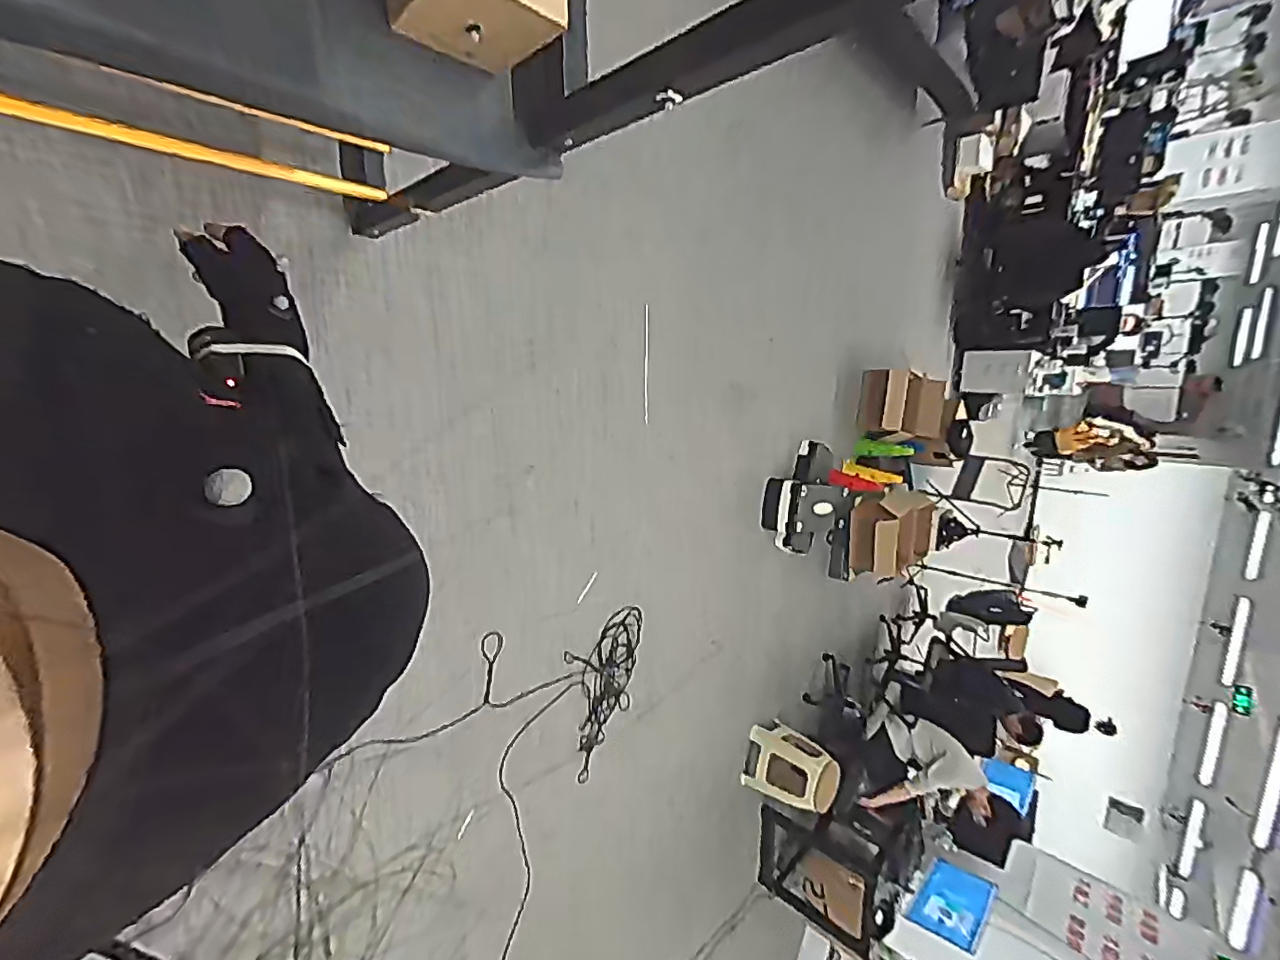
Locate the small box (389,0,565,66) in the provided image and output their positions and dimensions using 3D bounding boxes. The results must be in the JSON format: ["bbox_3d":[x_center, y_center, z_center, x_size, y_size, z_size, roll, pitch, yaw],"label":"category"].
[{"bbox_3d":[-0.213,-0.677,0.688,0.168,0.176,0.179,-13,106,-46],"label":"small box"}]
